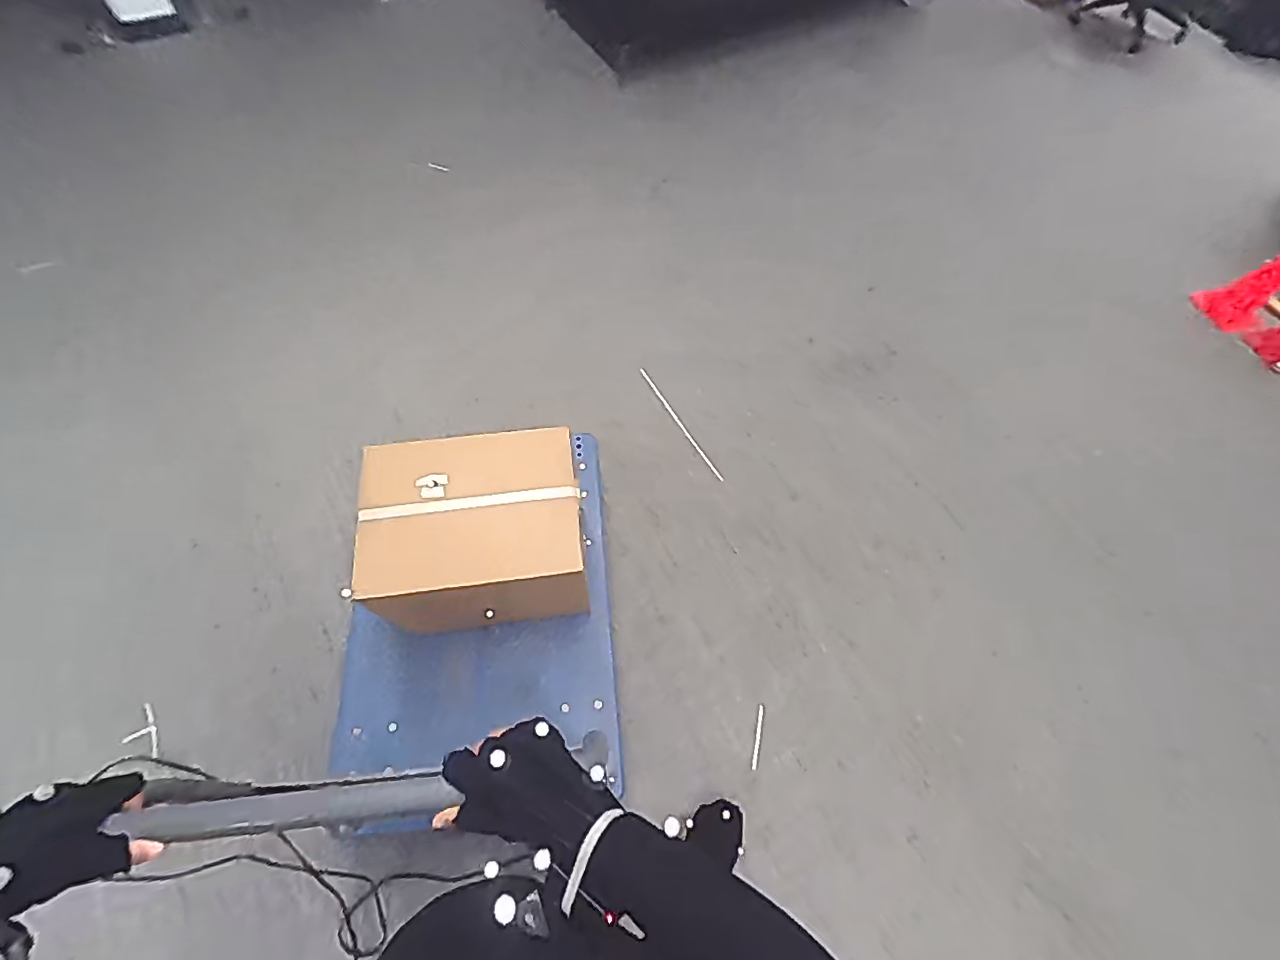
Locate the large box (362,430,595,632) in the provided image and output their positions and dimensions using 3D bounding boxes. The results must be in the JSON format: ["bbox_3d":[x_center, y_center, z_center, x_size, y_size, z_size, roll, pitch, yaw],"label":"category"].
[{"bbox_3d":[-0.316,0.120,1.158,0.408,0.320,0.320,-6,63,-6],"label":"large box"}]
